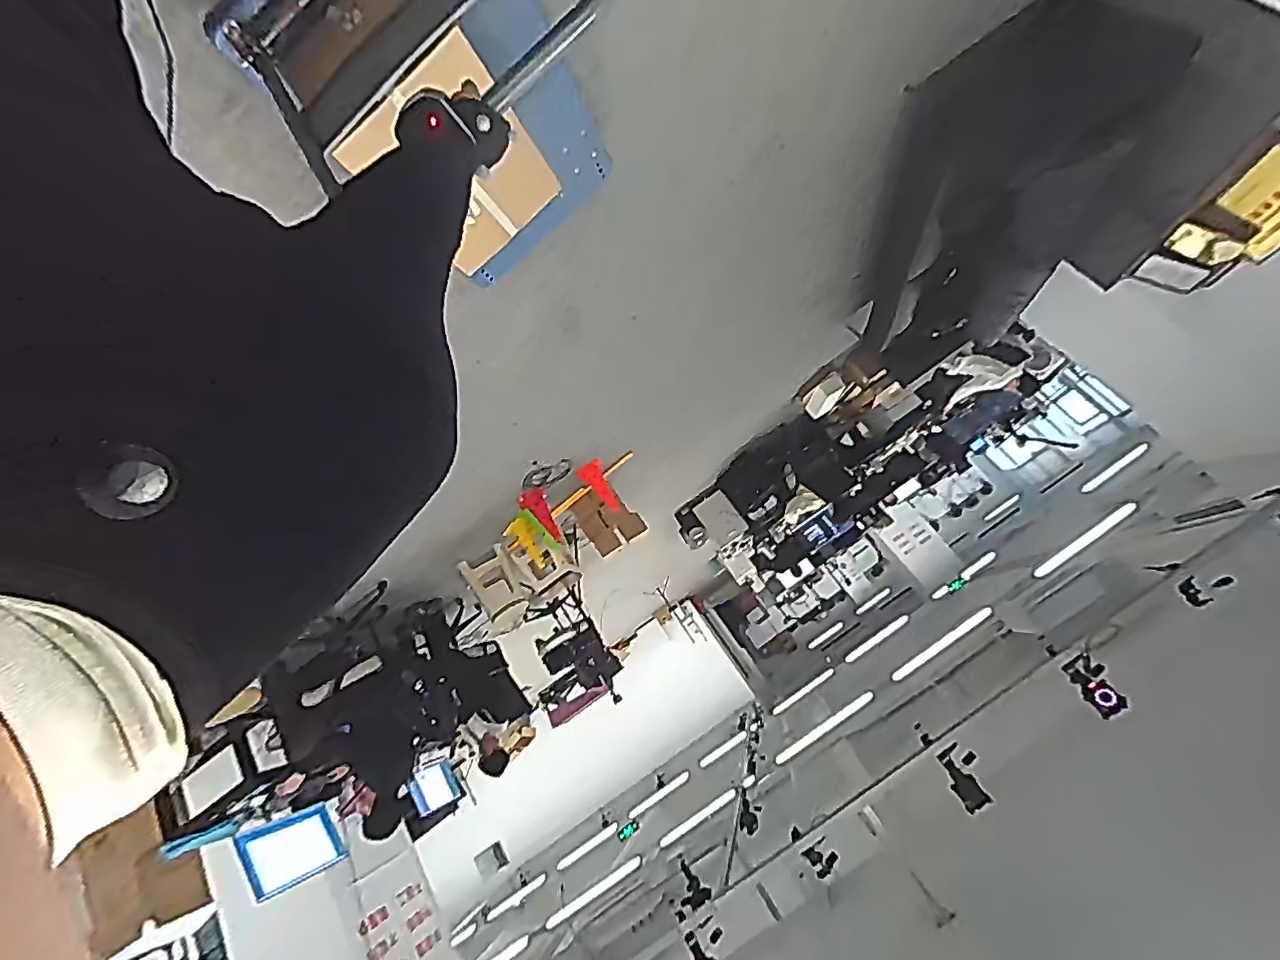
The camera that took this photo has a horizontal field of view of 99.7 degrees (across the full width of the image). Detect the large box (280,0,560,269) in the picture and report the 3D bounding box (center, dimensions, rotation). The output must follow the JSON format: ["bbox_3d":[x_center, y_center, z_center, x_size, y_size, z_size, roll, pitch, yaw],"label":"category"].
[{"bbox_3d":[-0.454,-0.758,1.174,0.320,0.320,0.408,-39,160,8],"label":"large box"}]
